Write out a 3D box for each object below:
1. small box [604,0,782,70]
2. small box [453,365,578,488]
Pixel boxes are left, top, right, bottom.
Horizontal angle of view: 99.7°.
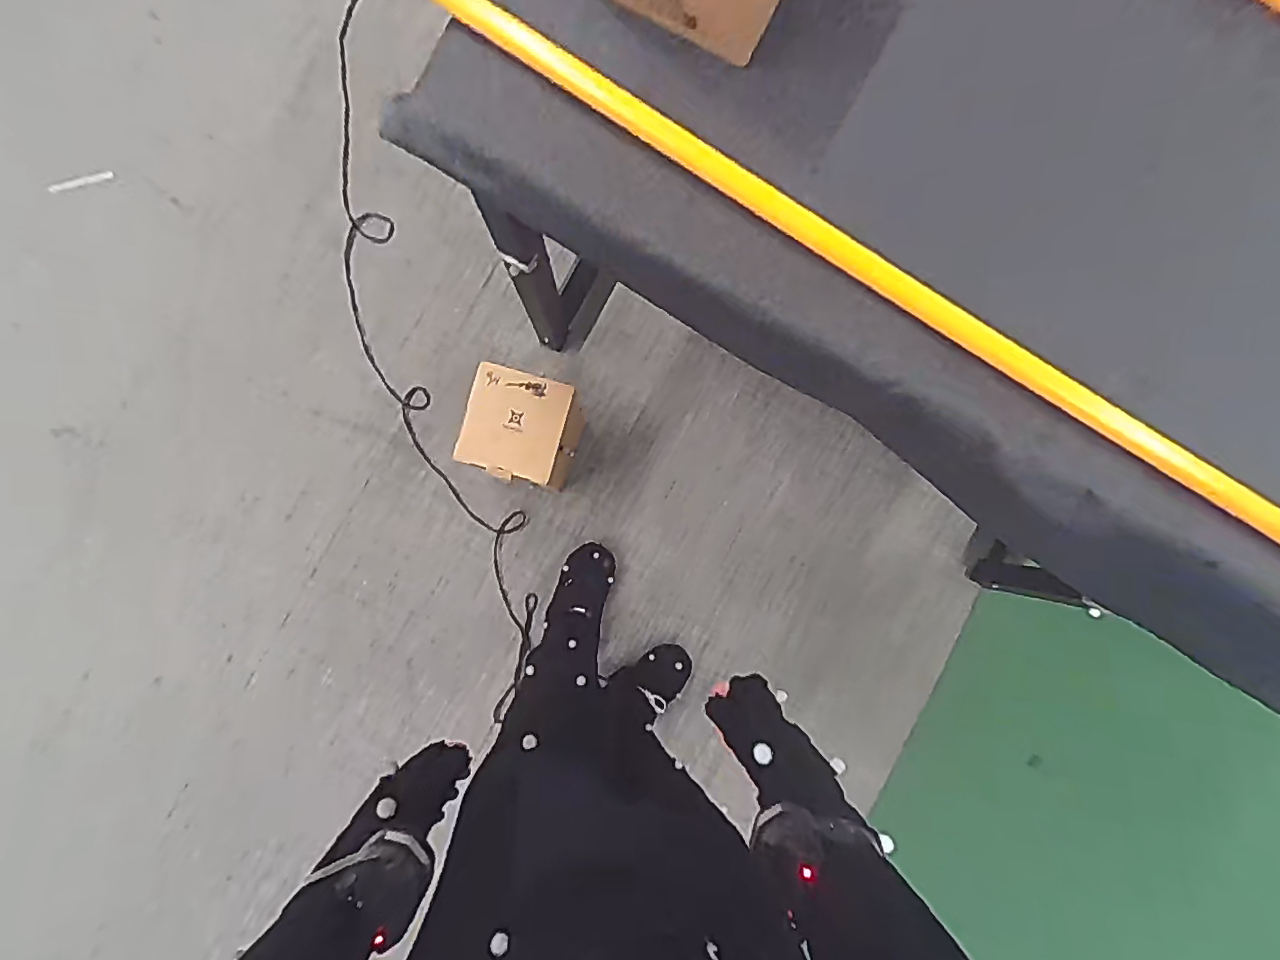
[{"bbox_3d":[0.068,-0.507,0.447,0.168,0.176,0.179,27,87,-1],"label":"small box"},{"bbox_3d":[-0.214,-0.087,0.982,0.168,0.176,0.179,13,86,0],"label":"small box"}]
